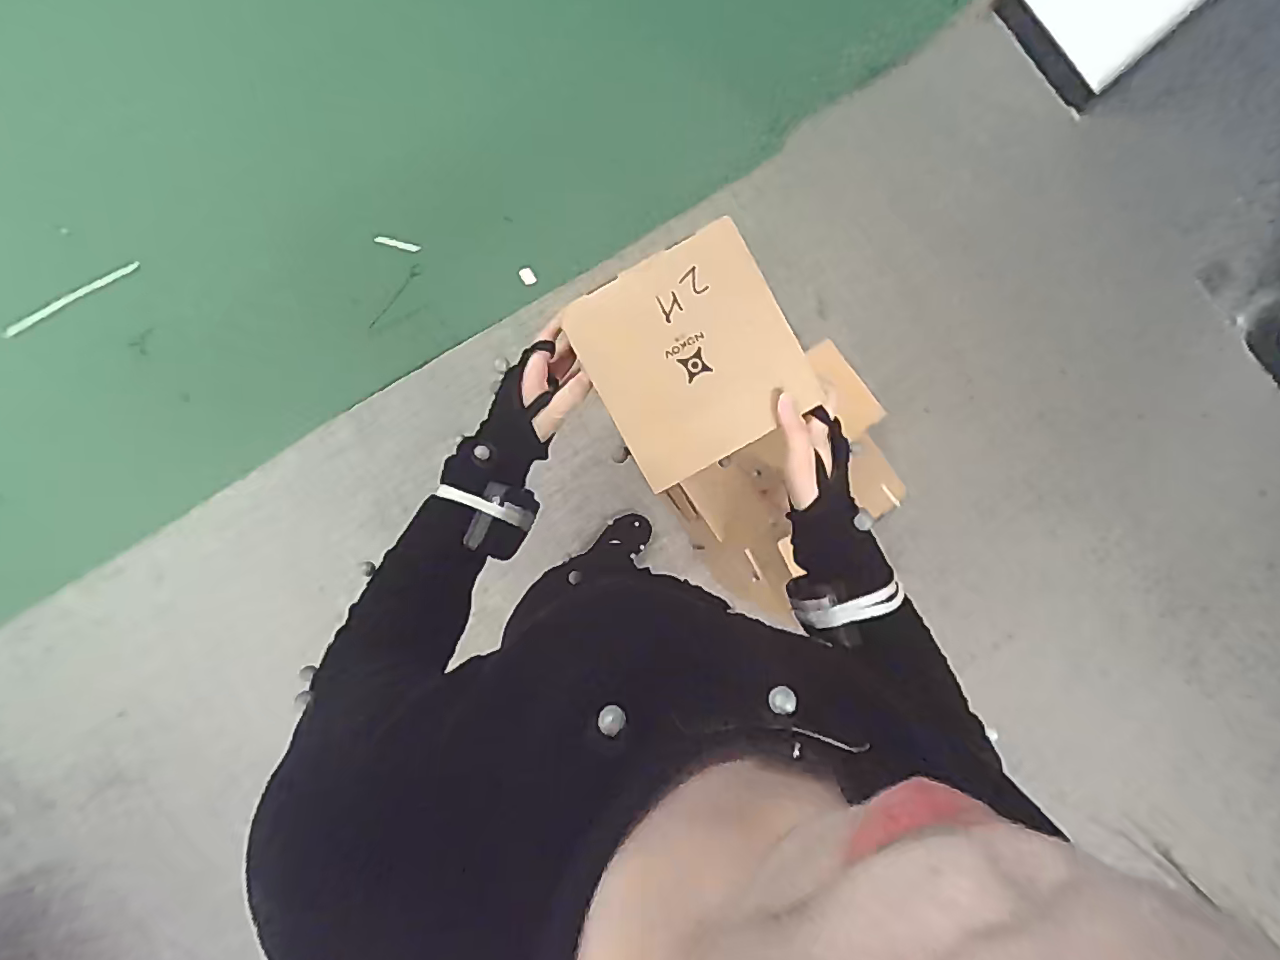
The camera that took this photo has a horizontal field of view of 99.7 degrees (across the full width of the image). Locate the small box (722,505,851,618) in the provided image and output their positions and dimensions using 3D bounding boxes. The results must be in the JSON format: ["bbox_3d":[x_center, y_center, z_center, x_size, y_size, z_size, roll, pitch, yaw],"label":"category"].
[{"bbox_3d":[0.303,0.168,1.152,0.179,0.176,0.168,-30,88,-10],"label":"small box"}]

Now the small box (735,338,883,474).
[{"bbox_3d":[0.308,-0.131,1.026,0.168,0.176,0.179,-35,89,-11],"label":"small box"}]

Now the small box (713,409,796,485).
[{"bbox_3d":[0.289,-0.103,1.185,0.168,0.176,0.179,-36,88,-11],"label":"small box"}]
